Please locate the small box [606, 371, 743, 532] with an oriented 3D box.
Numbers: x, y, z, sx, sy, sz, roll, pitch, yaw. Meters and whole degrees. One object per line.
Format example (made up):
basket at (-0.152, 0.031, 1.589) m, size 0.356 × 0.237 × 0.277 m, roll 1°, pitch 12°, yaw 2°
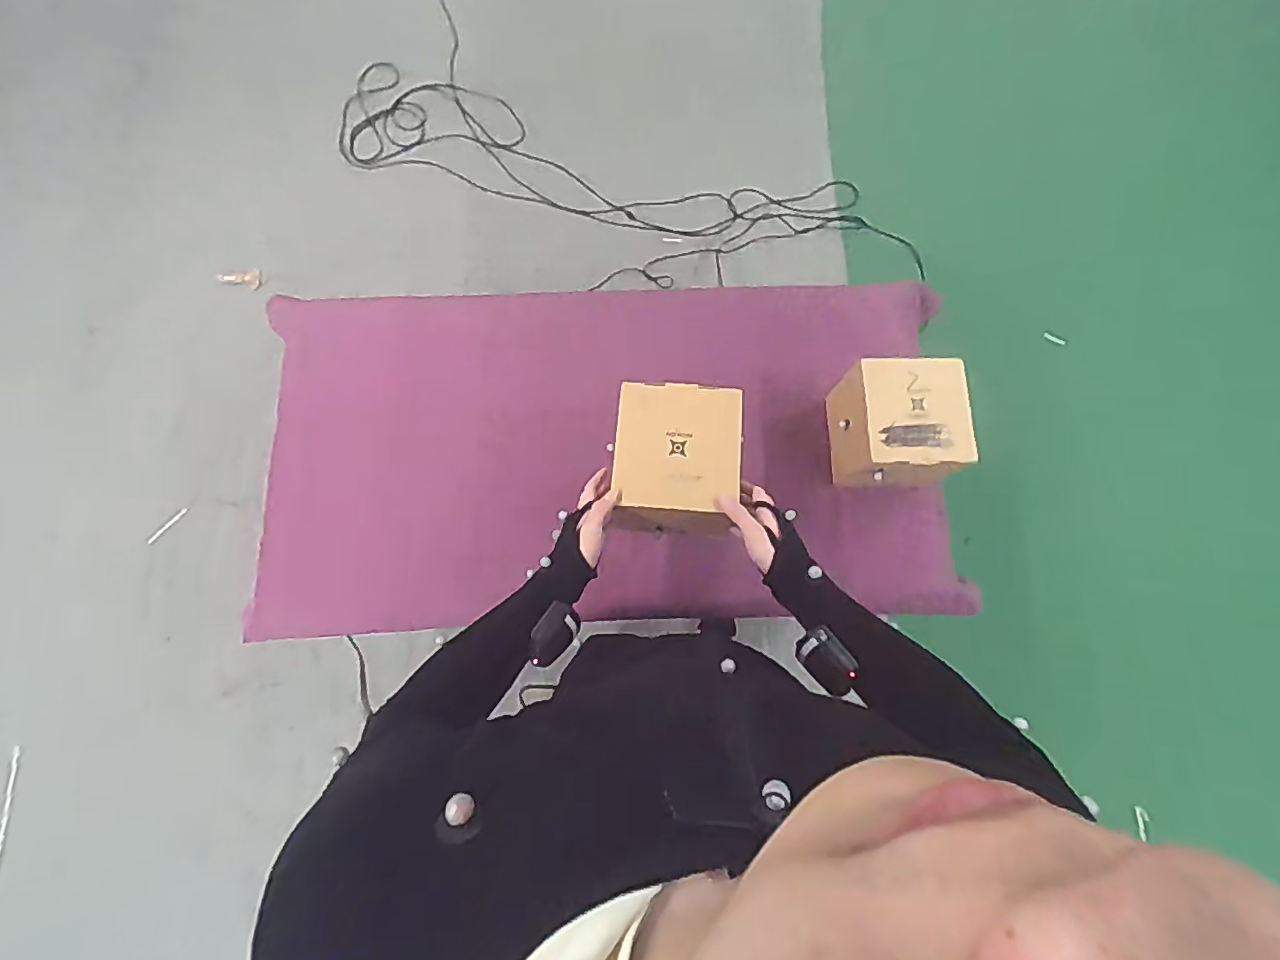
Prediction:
small box at (0.046, -0.033, 0.774) m, size 0.168 × 0.176 × 0.179 m, roll 6°, pitch 74°, yaw 2°
